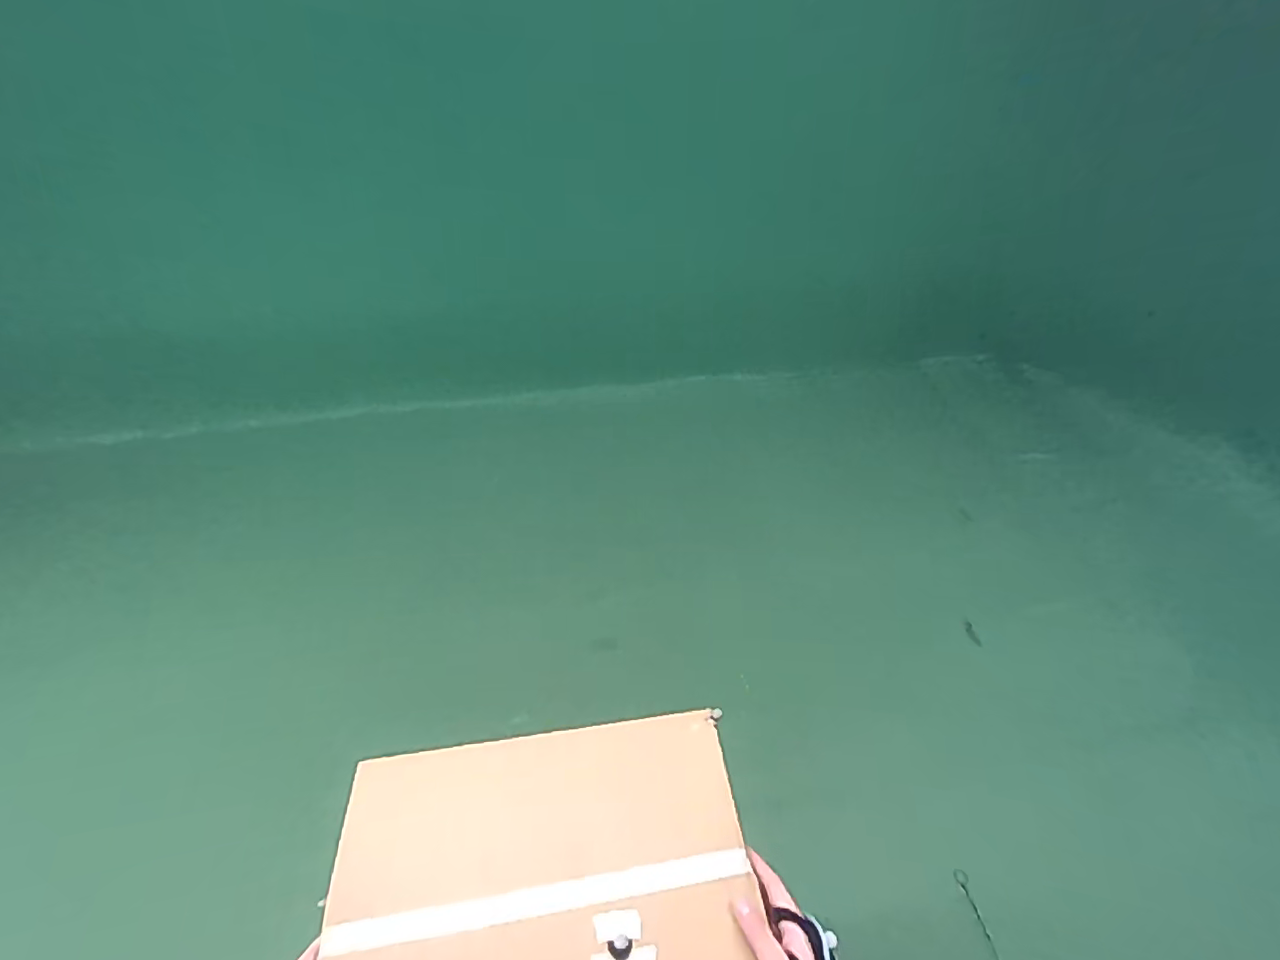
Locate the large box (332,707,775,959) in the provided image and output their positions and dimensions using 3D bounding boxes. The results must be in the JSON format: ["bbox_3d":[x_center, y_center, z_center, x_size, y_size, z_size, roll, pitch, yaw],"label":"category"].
[{"bbox_3d":[-0.091,0.510,0.628,0.408,0.320,0.320,-5,43,-8],"label":"large box"}]
